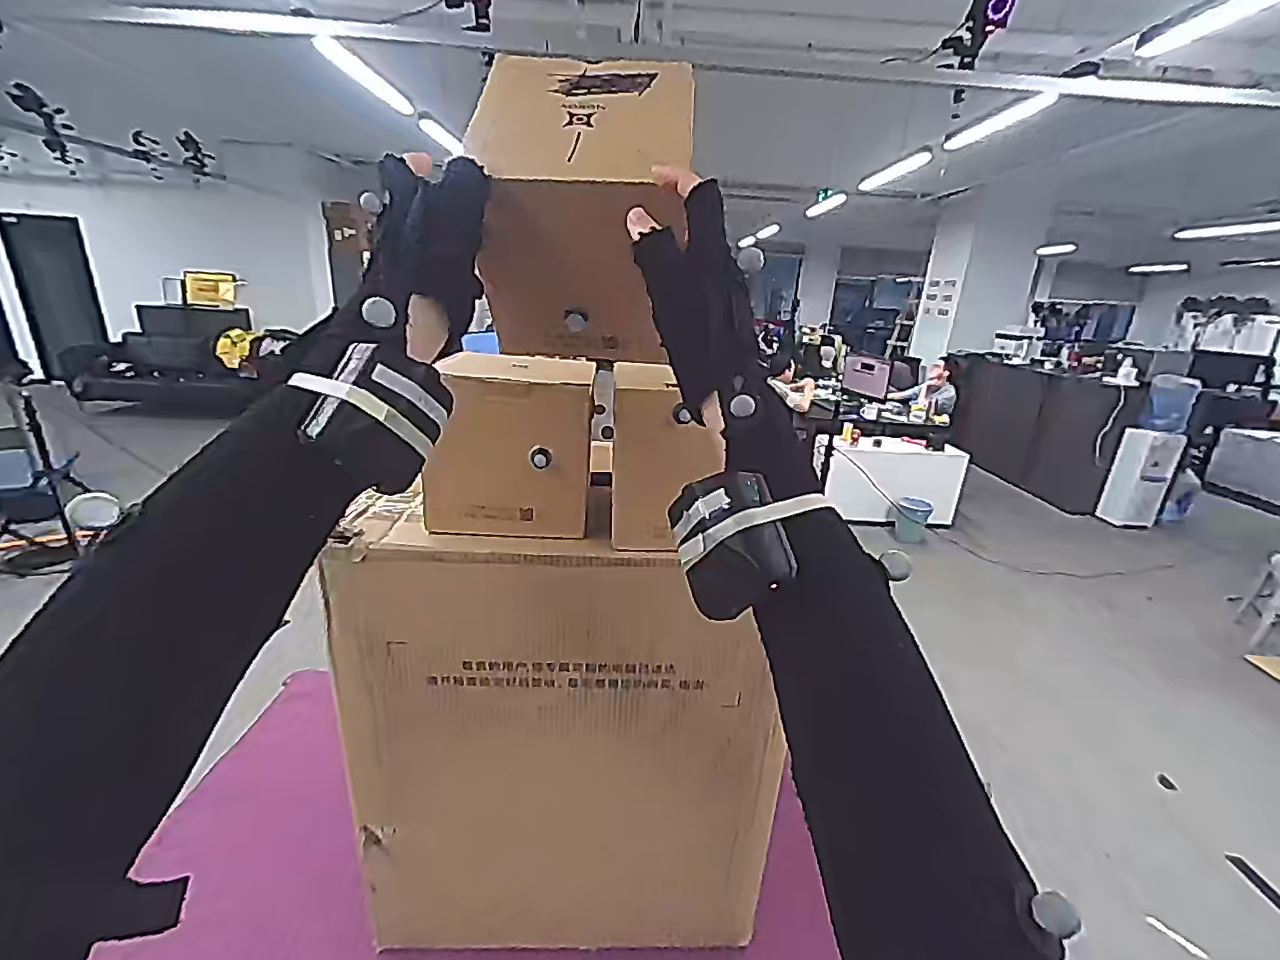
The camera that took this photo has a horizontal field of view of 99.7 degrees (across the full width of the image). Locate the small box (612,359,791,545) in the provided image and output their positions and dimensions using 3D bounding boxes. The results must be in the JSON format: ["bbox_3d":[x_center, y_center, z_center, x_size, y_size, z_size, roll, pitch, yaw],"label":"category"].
[{"bbox_3d":[0.054,-0.039,0.608,0.168,0.176,0.179,1,18,-4],"label":"small box"}]

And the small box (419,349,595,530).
[{"bbox_3d":[-0.138,-0.051,0.616,0.168,0.176,0.179,4,17,-6],"label":"small box"}]

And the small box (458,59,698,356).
[{"bbox_3d":[-0.039,-0.235,0.477,0.168,0.176,0.179,3,57,2],"label":"small box"}]
